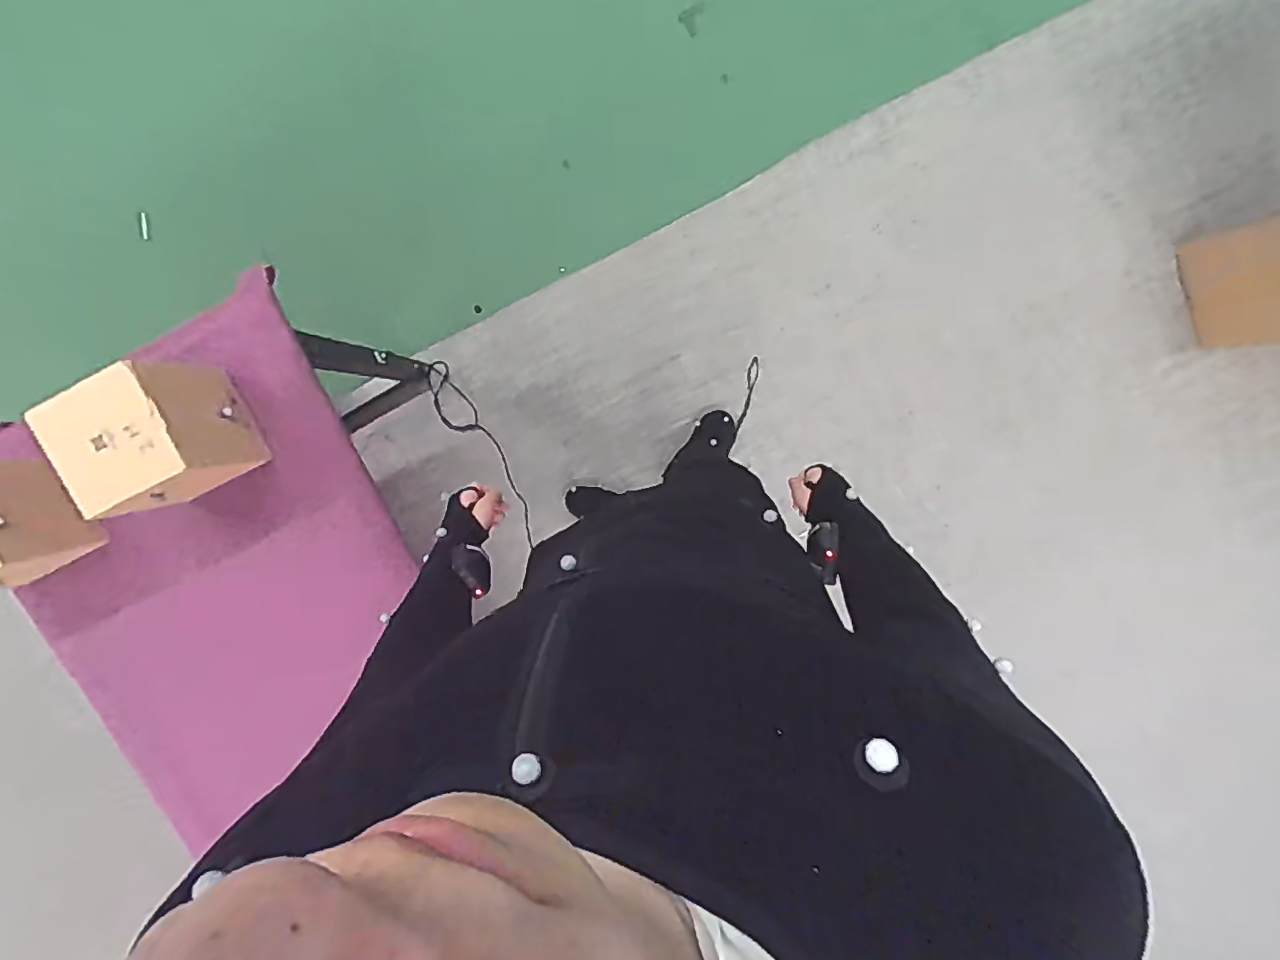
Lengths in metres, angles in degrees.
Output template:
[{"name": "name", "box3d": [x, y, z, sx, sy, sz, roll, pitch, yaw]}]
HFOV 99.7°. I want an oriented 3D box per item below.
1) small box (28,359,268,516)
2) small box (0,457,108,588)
[{"name": "small box", "box3d": [-0.724, -0.065, 0.819, 0.179, 0.176, 0.168, -25, 96, 5]}, {"name": "small box", "box3d": [-1.012, 0.076, 0.840, 0.179, 0.176, 0.168, -26, 97, 2]}]
